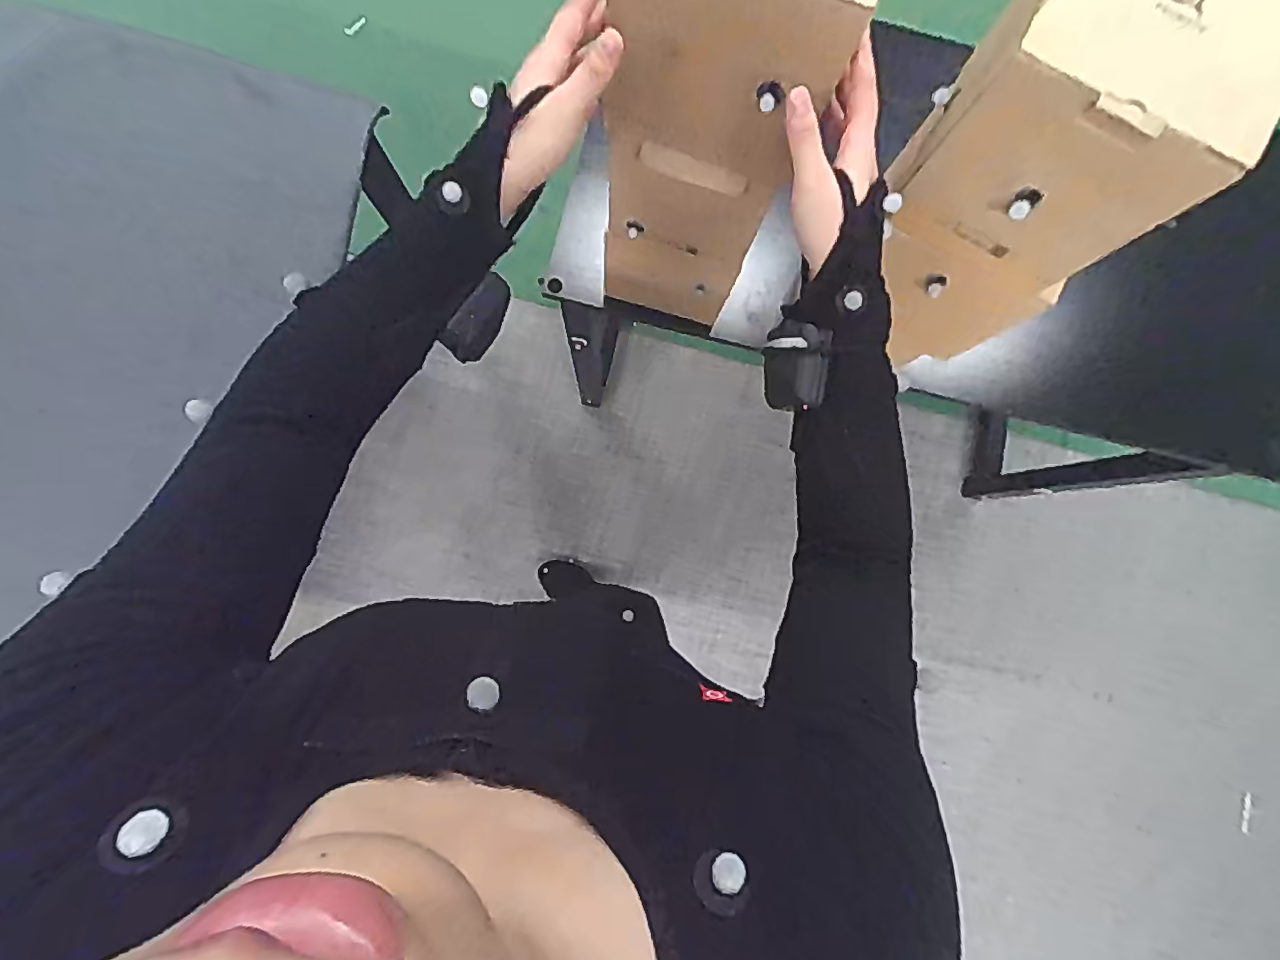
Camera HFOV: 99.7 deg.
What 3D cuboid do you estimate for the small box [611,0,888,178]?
[{"bbox_3d":[0.083,-0.373,0.417,0.179,0.176,0.168,16,81,-1],"label":"small box"}]

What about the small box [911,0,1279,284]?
[{"bbox_3d":[0.349,-0.290,0.424,0.168,0.176,0.179,29,84,2],"label":"small box"}]

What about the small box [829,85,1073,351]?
[{"bbox_3d":[0.341,-0.260,0.585,0.179,0.176,0.168,27,84,0],"label":"small box"}]

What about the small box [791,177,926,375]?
[{"bbox_3d":[0.326,-0.266,0.748,0.168,0.176,0.179,19,83,-2],"label":"small box"}]

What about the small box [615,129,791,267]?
[{"bbox_3d":[0.076,-0.362,0.579,0.168,0.176,0.179,18,82,-2],"label":"small box"}]
